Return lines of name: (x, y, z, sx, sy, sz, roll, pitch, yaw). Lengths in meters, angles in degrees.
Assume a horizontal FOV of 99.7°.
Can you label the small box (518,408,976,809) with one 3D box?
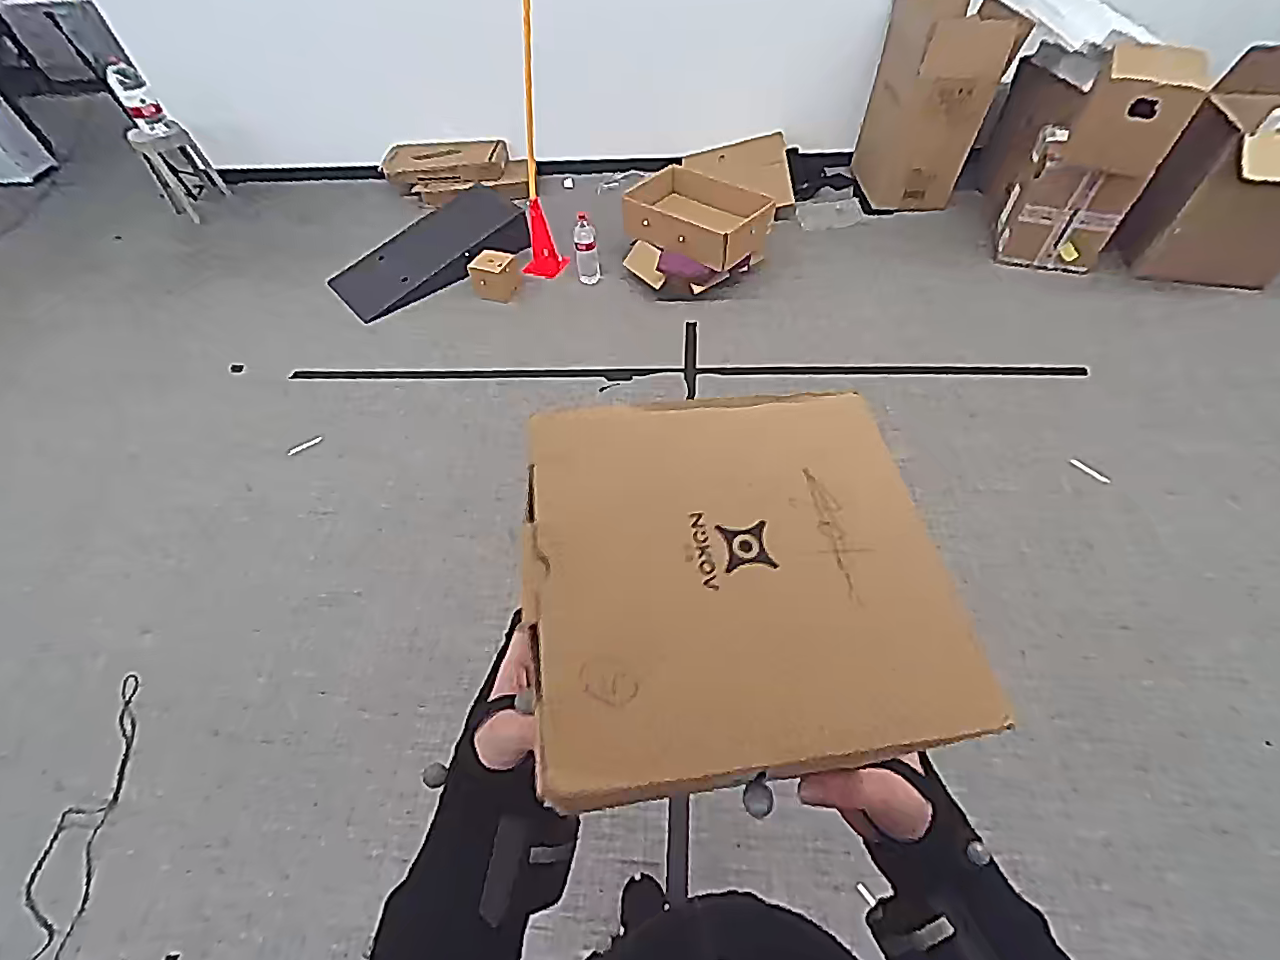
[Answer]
small box: (0.032, 0.080, 0.309, 0.179, 0.176, 0.168, -6, 59, -8)
